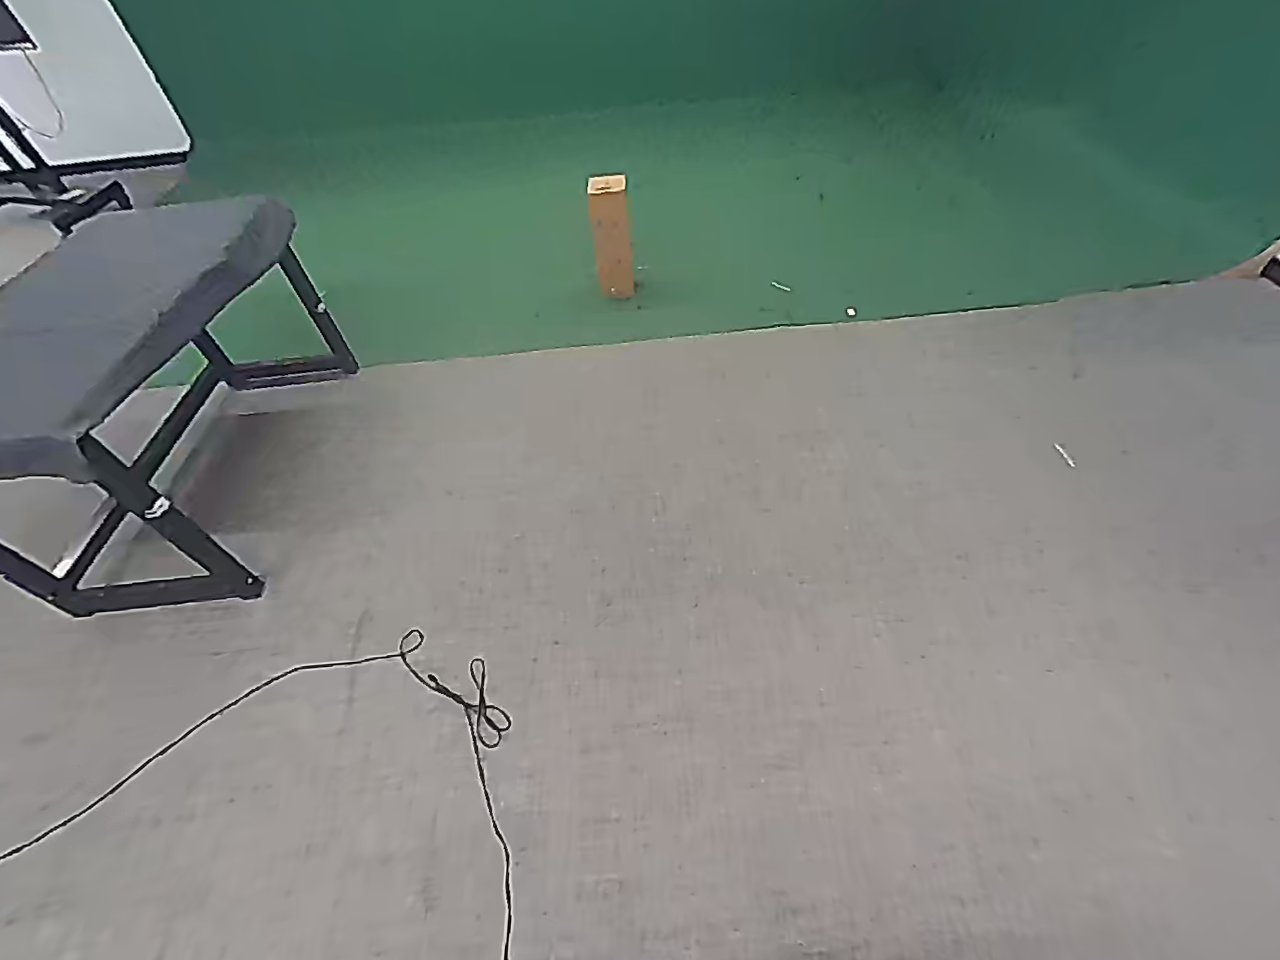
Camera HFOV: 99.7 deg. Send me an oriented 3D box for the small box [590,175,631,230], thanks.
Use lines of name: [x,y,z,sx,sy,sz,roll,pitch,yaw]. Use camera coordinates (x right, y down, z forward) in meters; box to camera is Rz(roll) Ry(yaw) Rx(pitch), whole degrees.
small box: [-0.129,-1.241,2.430,0.168,0.176,0.179,-3,48,3]

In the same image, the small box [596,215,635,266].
small box: [-0.112,-1.130,2.550,0.168,0.176,0.179,-4,48,3]

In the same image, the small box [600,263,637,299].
small box: [-0.103,-1.019,2.671,0.168,0.176,0.179,-4,50,3]
